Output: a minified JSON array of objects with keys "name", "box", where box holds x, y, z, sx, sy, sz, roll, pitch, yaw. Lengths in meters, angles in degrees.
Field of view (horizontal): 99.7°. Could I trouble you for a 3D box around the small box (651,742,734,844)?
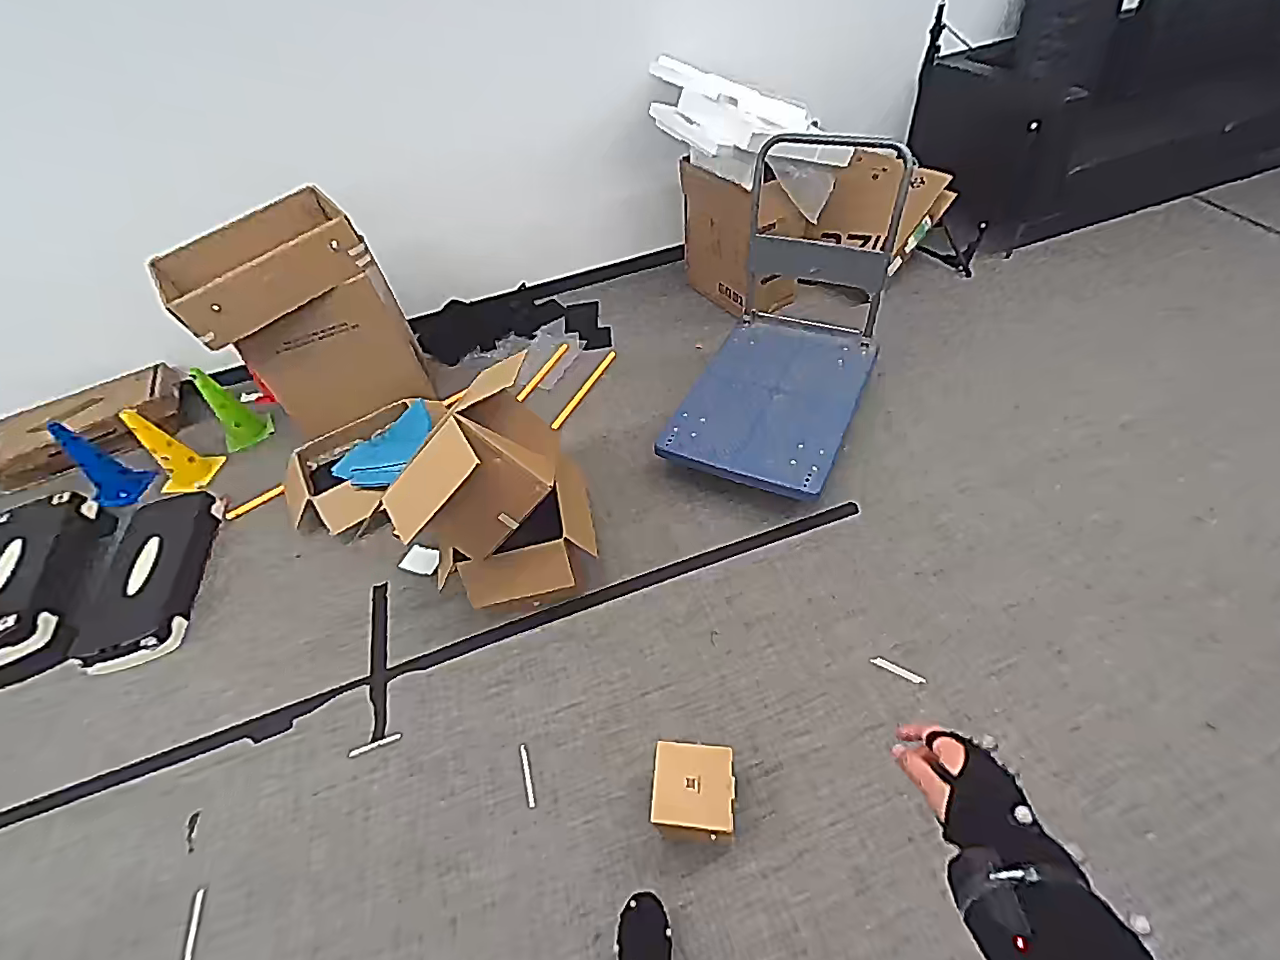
[{"name":"small box","box":[0.126,0.720,1.243,0.179,0.176,0.168,1,48,9]}]
